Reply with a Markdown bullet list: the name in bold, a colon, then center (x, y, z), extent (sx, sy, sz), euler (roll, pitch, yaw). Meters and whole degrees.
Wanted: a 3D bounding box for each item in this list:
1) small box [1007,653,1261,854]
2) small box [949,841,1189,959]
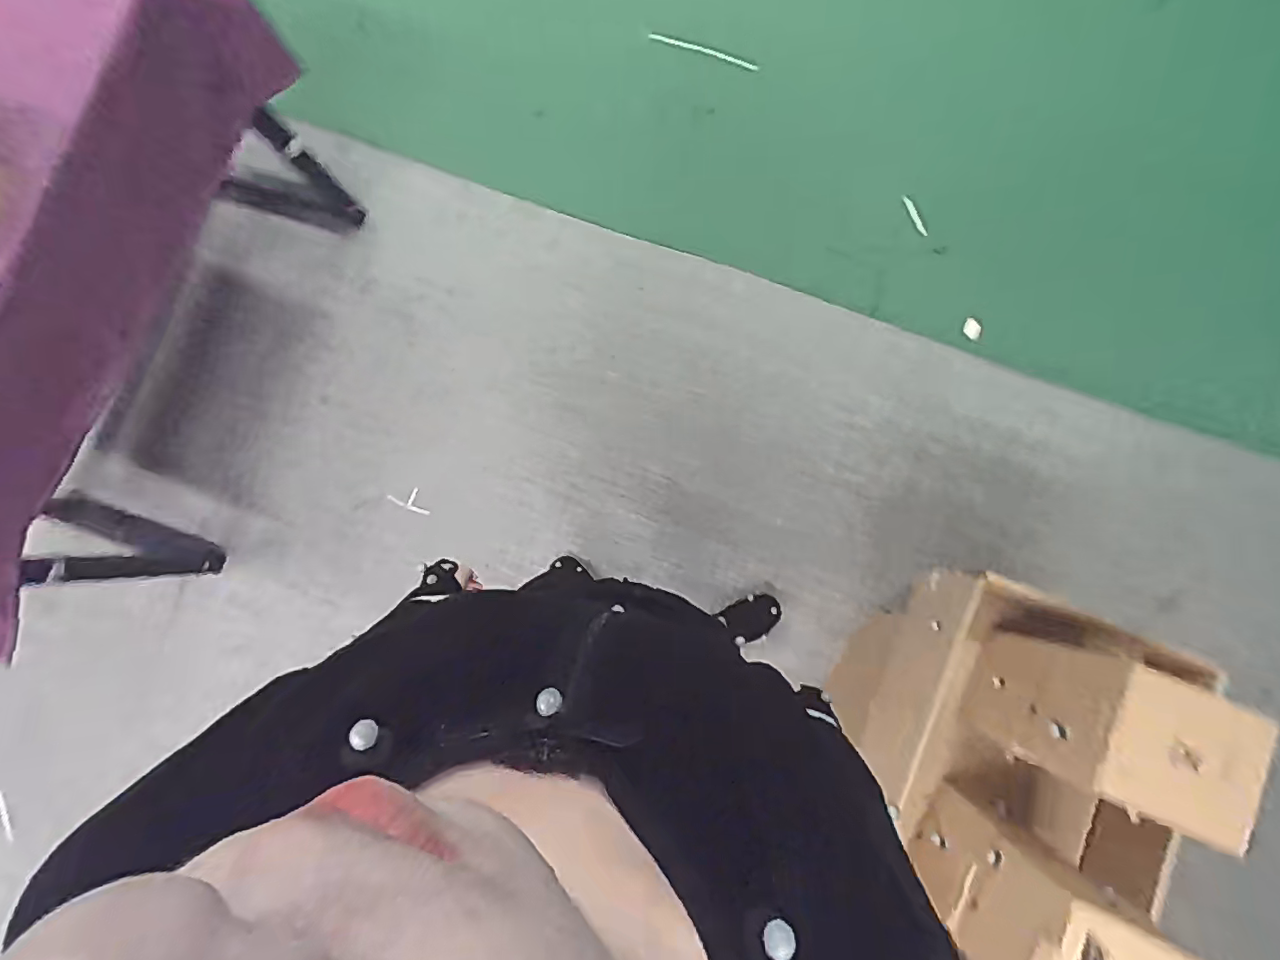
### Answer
- **small box**: center (0.656, 0.354, 0.743), extent (0.179, 0.176, 0.168), euler (24, 85, 4)
- **small box**: center (0.553, 0.622, 0.712), extent (0.179, 0.176, 0.168), euler (26, 85, 4)
